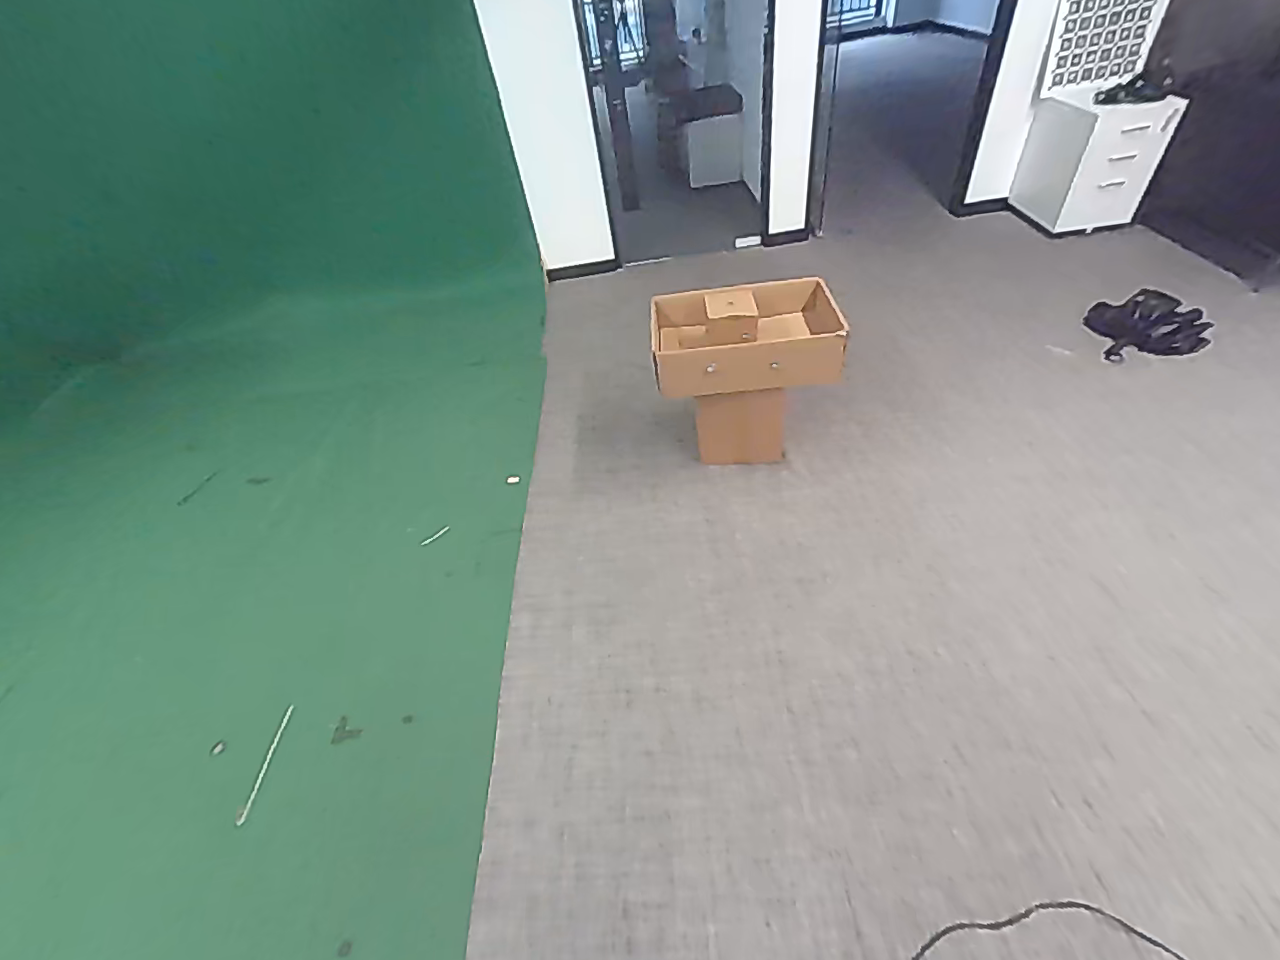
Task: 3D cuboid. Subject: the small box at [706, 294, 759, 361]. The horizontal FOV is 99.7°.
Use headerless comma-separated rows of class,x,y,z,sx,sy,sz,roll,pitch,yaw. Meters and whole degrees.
small box,0.321,-0.528,1.888,0.168,0.176,0.179,-4,42,3
